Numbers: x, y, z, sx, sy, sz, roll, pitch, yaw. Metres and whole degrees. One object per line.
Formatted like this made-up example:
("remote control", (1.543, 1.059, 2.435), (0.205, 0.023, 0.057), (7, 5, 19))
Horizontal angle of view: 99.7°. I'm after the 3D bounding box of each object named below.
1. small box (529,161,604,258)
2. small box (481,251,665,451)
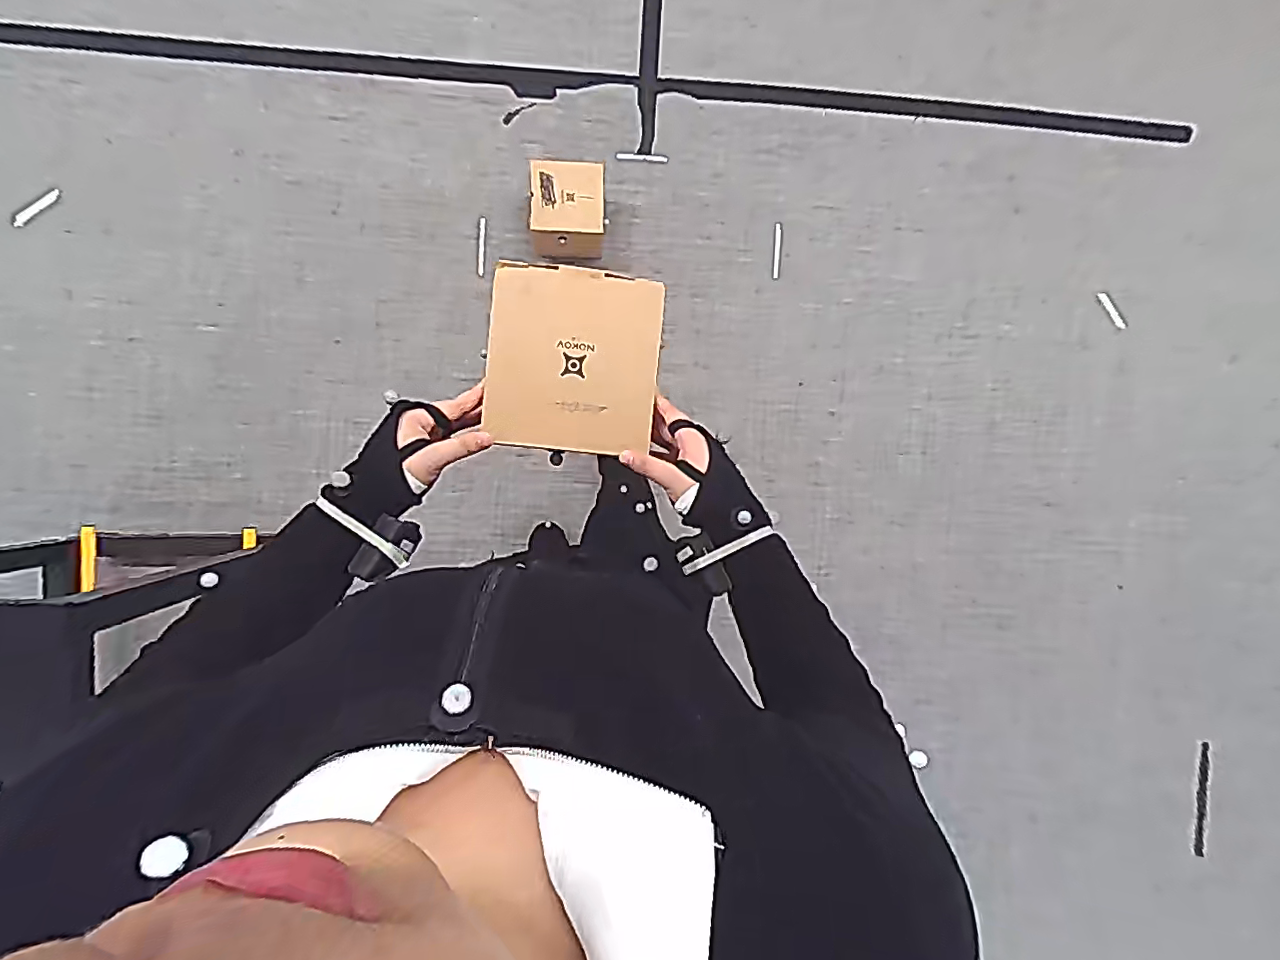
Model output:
("small box", (-0.180, -0.676, 1.366), (0.179, 0.176, 0.168), (0, 93, -5))
("small box", (-0.074, -0.127, 0.603), (0.168, 0.176, 0.179), (5, 92, -7))
